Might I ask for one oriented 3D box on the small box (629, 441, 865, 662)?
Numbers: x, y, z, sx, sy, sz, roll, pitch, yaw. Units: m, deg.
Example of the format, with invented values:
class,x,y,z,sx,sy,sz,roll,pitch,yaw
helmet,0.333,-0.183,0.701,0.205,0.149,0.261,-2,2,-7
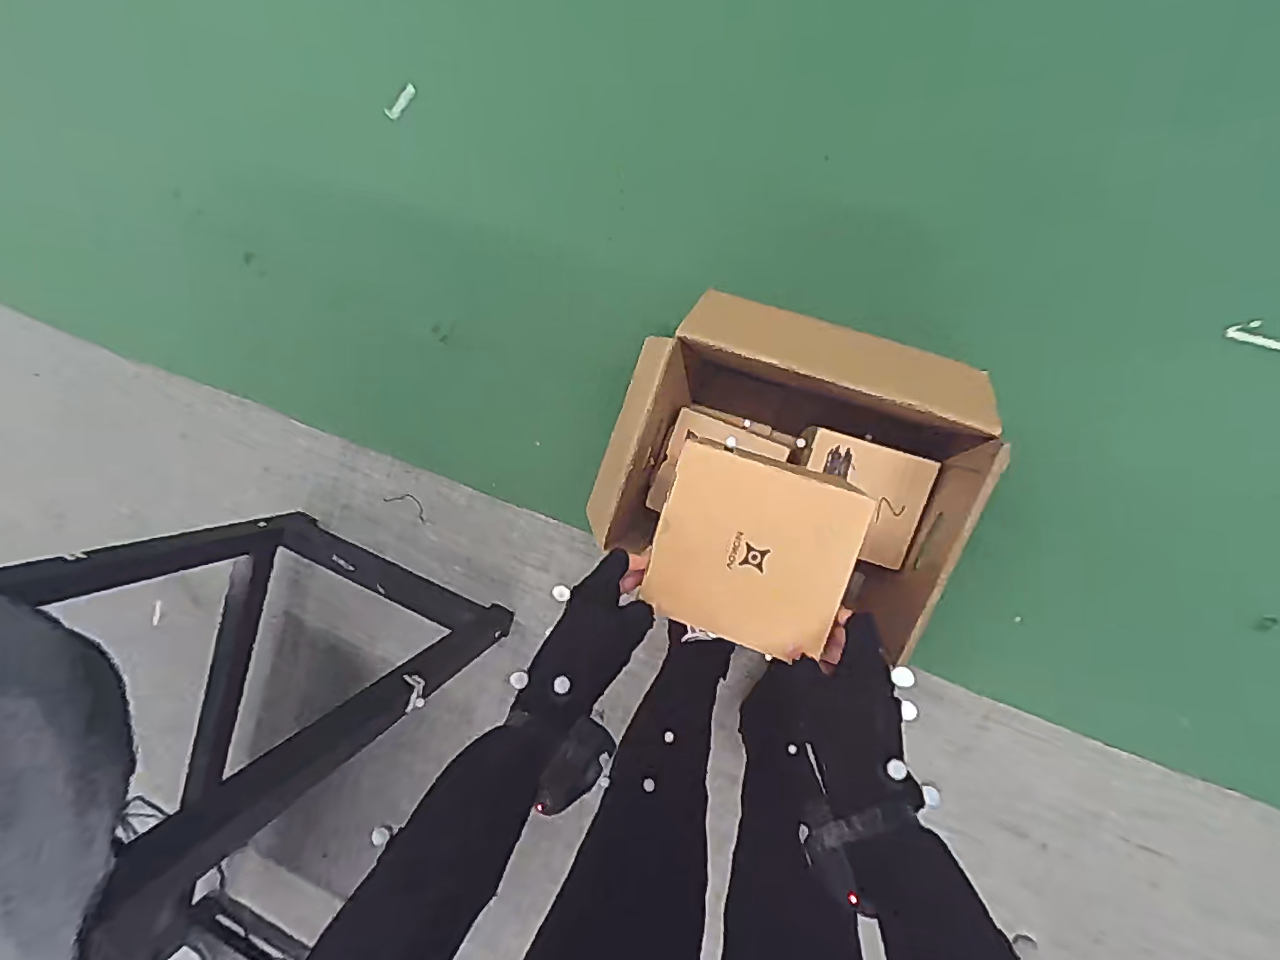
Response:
class,x,y,z,sx,sy,sz,roll,pitch,yaw
small box,0.109,0.056,0.568,0.179,0.176,0.168,17,99,11
